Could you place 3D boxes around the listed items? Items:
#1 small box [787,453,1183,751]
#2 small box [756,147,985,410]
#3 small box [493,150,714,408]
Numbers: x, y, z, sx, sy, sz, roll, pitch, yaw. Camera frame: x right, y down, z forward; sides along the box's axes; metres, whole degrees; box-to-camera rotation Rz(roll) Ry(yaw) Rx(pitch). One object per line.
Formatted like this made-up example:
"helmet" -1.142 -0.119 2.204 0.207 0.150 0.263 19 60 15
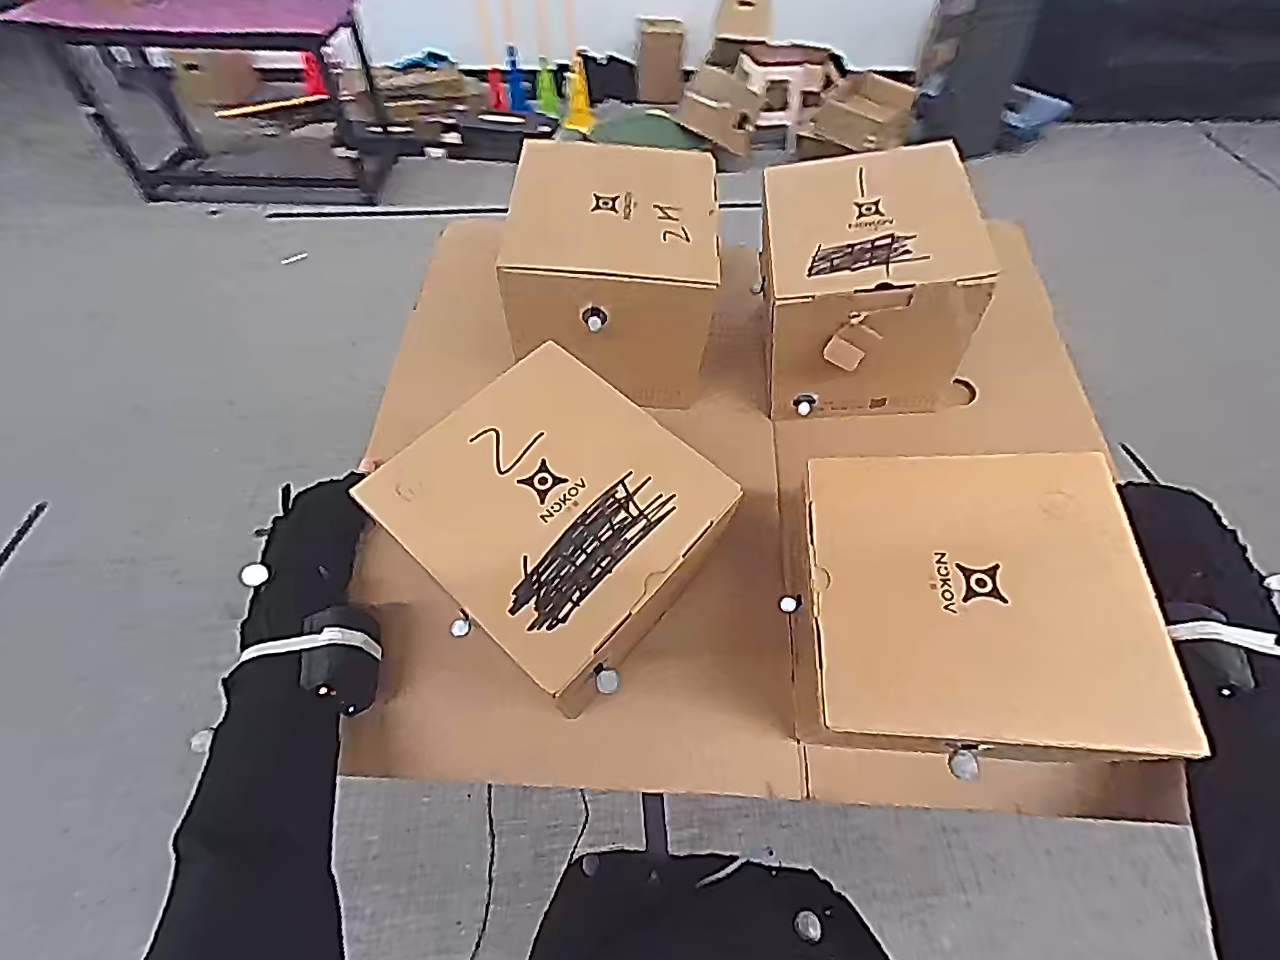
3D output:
"small box" 0.201 0.093 0.382 0.179 0.176 0.168 -2 63 13
"small box" 0.202 -0.180 0.527 0.168 0.176 0.179 -2 60 11
"small box" -0.030 -0.185 0.527 0.179 0.176 0.168 4 63 -3
